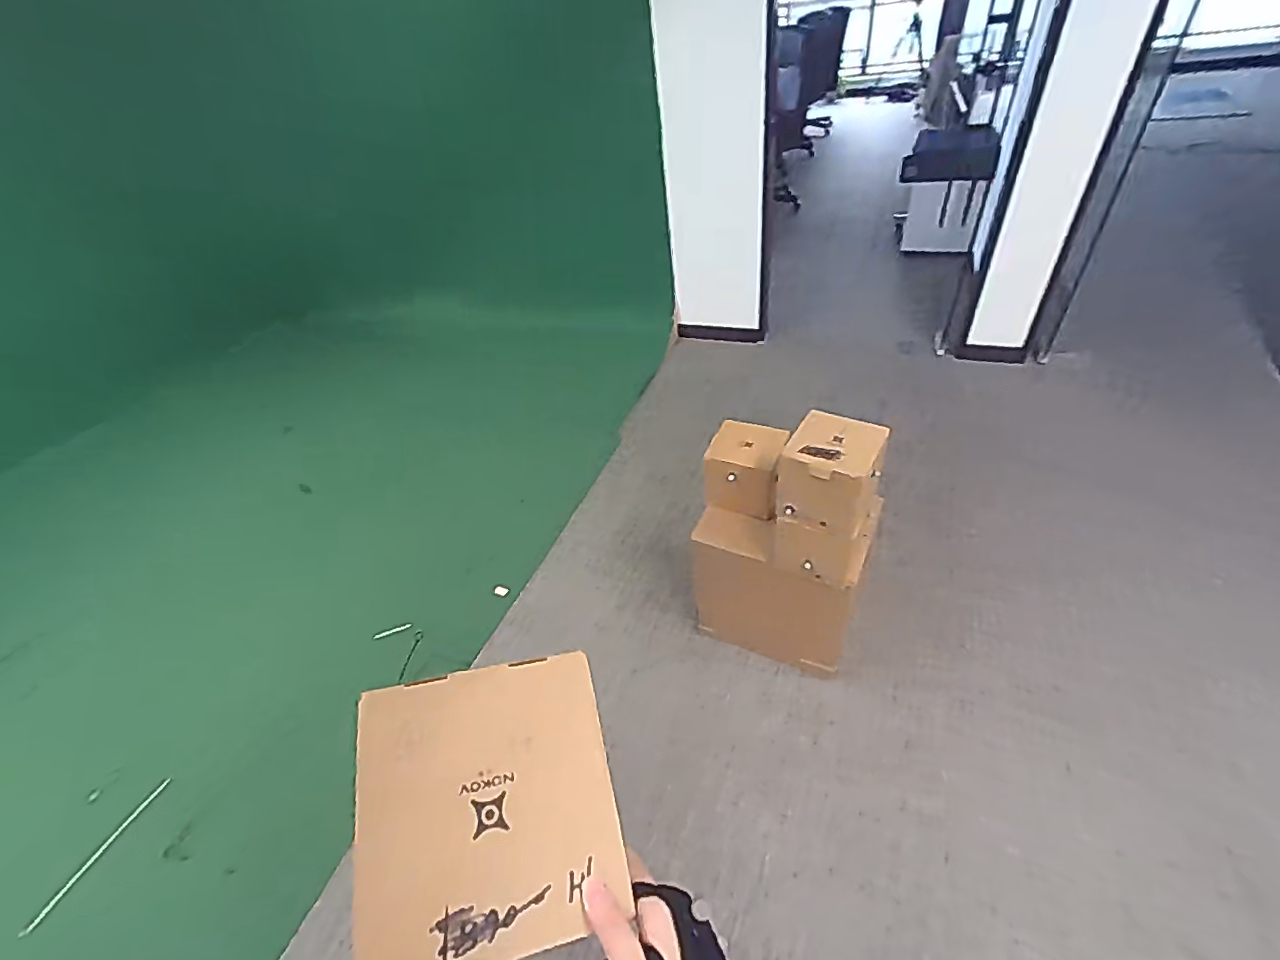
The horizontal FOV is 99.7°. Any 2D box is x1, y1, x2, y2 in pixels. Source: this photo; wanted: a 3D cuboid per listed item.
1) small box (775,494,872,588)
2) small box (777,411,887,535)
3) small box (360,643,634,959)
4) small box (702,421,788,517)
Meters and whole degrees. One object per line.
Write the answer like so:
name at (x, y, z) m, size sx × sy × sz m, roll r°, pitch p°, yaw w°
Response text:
small box at (0.412, 0.111, 1.232) m, size 0.168 × 0.176 × 0.179 m, roll 16°, pitch 47°, yaw 26°
small box at (0.394, -0.014, 1.125) m, size 0.168 × 0.176 × 0.179 m, roll 20°, pitch 47°, yaw 28°
small box at (-0.114, 0.255, 0.437) m, size 0.168 × 0.176 × 0.179 m, roll -6°, pitch 57°, yaw -16°
small box at (0.274, -0.026, 1.407) m, size 0.179 × 0.176 × 0.168 m, roll 14°, pitch 46°, yaw 24°
